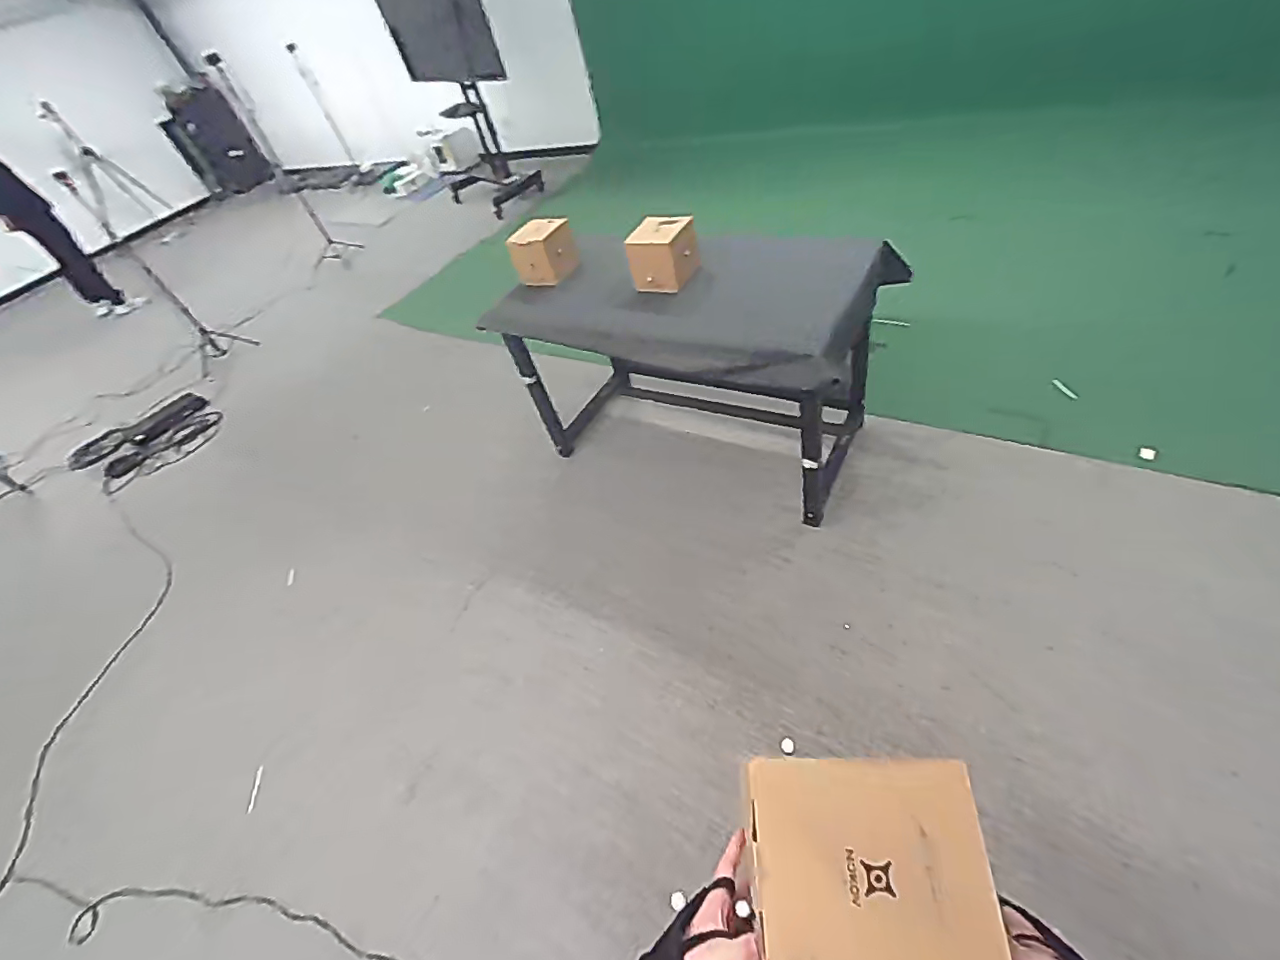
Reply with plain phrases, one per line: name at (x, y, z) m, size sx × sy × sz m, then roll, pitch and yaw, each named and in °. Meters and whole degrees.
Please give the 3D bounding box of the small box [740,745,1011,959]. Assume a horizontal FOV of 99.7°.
small box at (0.182, 0.329, 0.480) m, size 0.179 × 0.176 × 0.168 m, roll -3°, pitch 64°, yaw 5°

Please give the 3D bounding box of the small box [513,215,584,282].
small box at (-0.329, -0.848, 1.987) m, size 0.168 × 0.176 × 0.179 m, roll 13°, pitch 54°, yaw 28°

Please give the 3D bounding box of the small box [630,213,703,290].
small box at (0.093, -0.738, 1.743) m, size 0.168 × 0.176 × 0.179 m, roll 15°, pitch 55°, yaw 29°
